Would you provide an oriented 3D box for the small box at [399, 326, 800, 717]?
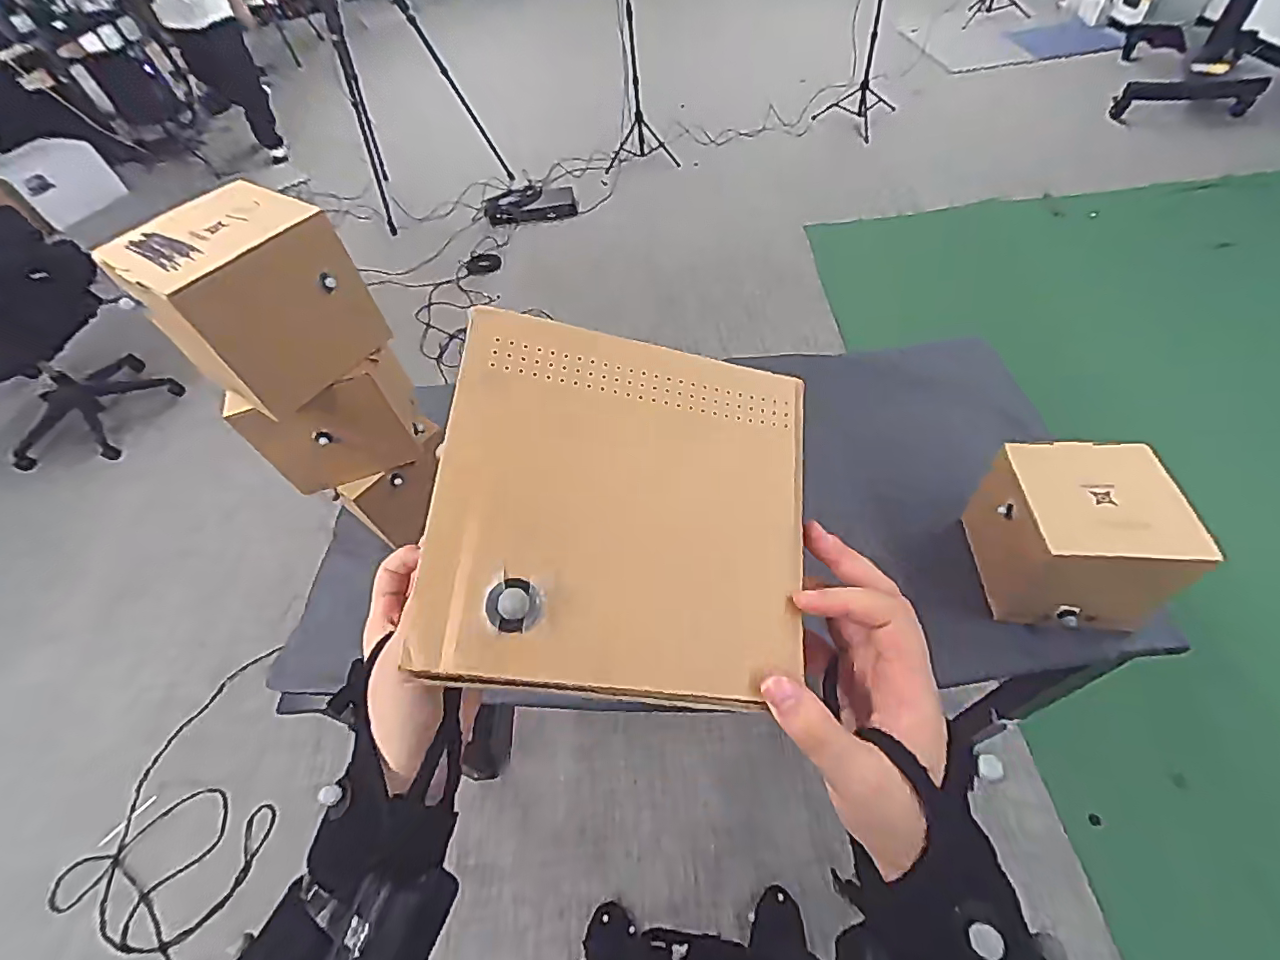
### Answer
[{"bbox_3d":[-0.022,0.032,0.320,0.179,0.168,0.176,10,73,-12],"label":"small box"}]

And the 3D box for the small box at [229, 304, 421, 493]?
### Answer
[{"bbox_3d":[-0.425,-0.111,0.760,0.179,0.176,0.168,-20,54,-7],"label":"small box"}]

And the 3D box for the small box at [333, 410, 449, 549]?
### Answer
[{"bbox_3d":[-0.408,-0.016,0.894,0.179,0.176,0.168,30,63,26],"label":"small box"}]

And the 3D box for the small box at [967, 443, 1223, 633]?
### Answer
[{"bbox_3d":[0.546,0.073,0.688,0.168,0.176,0.179,1,50,10],"label":"small box"}]
